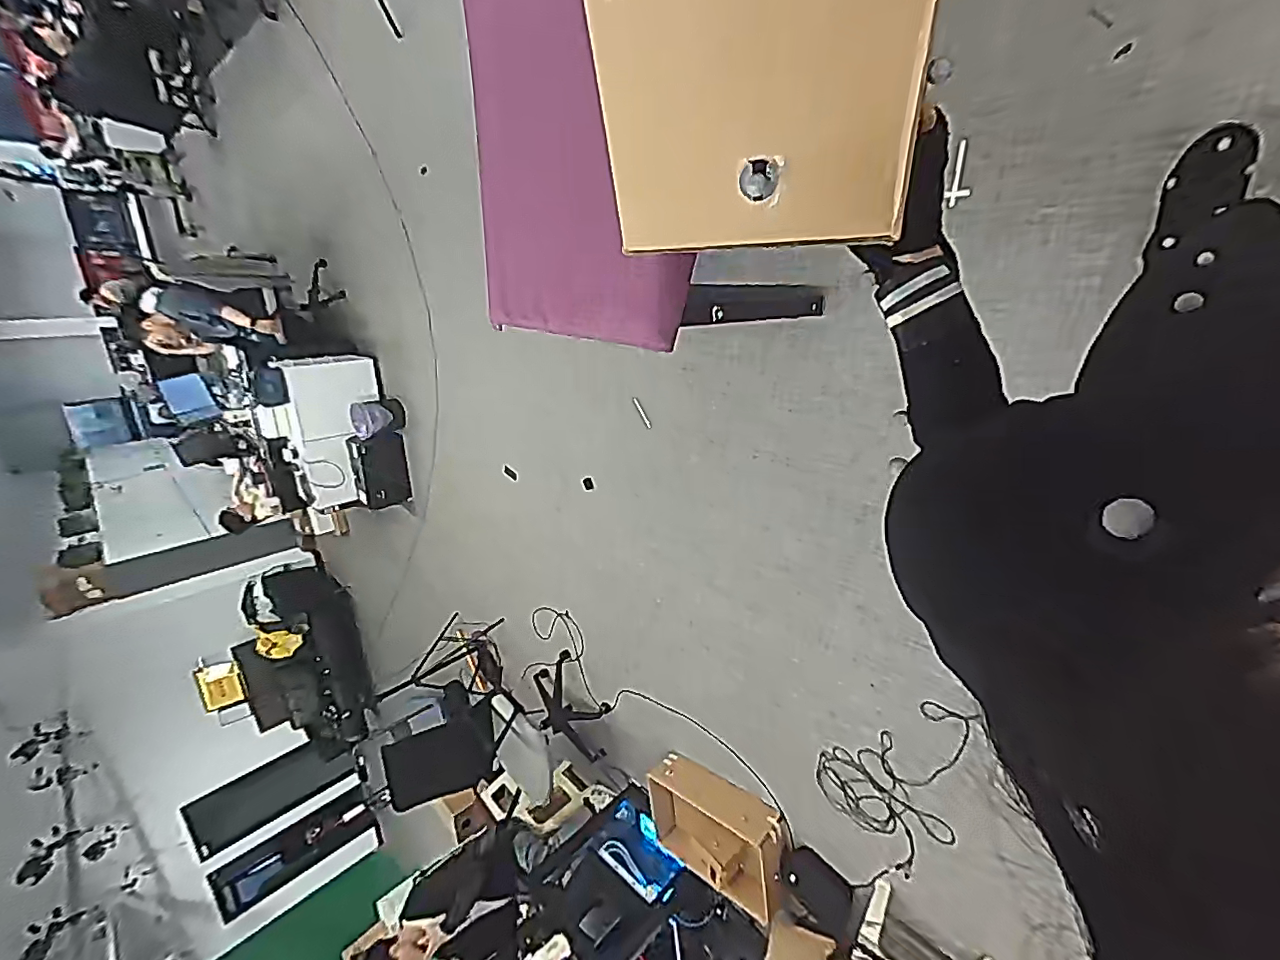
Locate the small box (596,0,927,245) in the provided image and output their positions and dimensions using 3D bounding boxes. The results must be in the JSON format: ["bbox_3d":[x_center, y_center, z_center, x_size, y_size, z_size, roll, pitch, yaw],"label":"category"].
[{"bbox_3d":[0.082,-0.272,0.347,0.179,0.168,0.176,6,135,20],"label":"small box"}]
